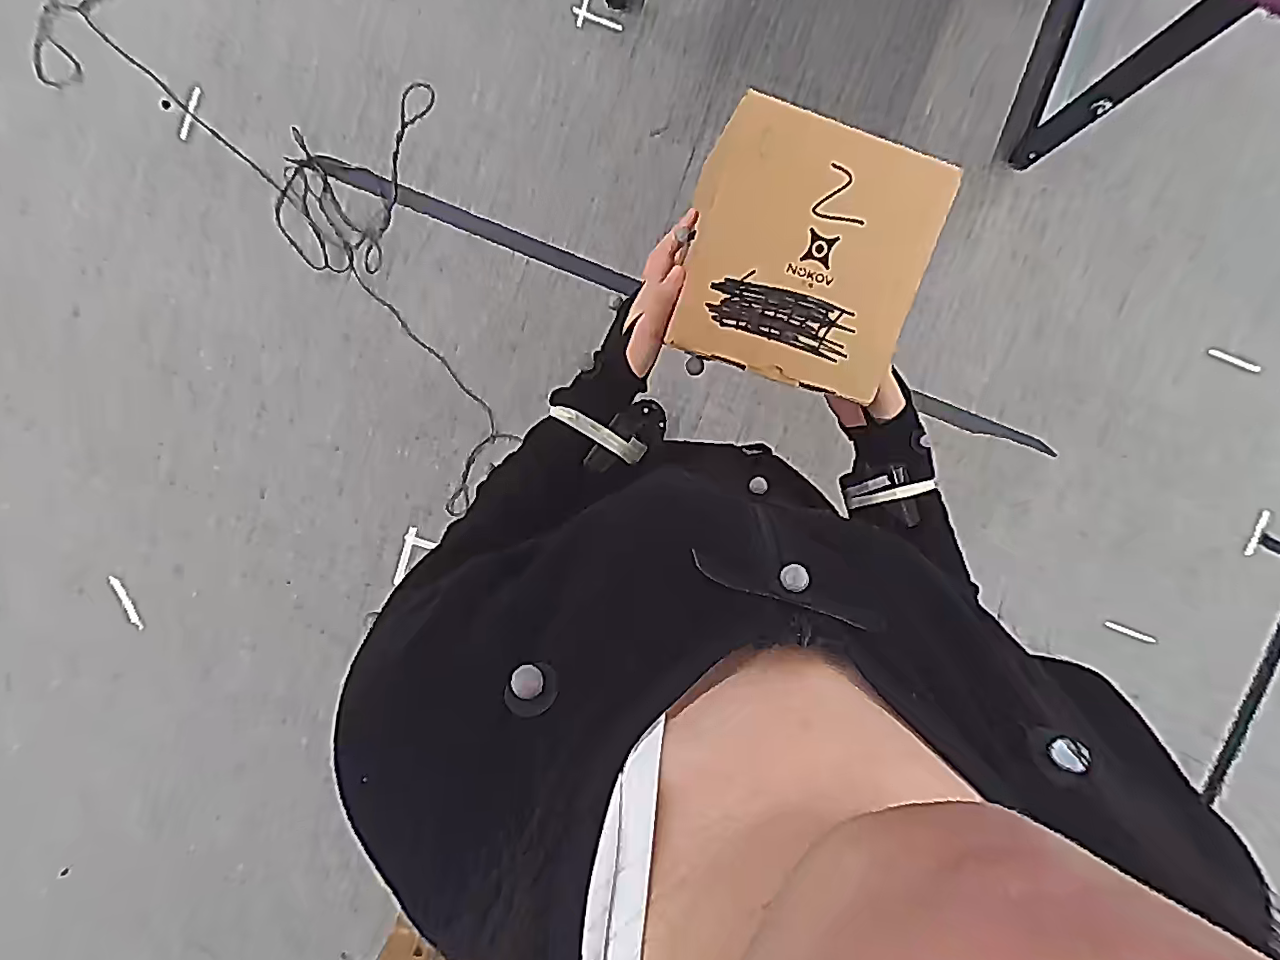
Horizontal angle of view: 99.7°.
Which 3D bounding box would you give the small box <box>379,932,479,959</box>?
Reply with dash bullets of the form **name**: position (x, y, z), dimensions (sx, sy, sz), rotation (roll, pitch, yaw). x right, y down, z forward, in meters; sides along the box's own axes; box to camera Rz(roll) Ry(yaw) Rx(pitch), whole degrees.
- **small box**: position (-0.363, 0.875, 0.855), dimensions (0.168, 0.176, 0.179), rotation (12, 94, 0)
